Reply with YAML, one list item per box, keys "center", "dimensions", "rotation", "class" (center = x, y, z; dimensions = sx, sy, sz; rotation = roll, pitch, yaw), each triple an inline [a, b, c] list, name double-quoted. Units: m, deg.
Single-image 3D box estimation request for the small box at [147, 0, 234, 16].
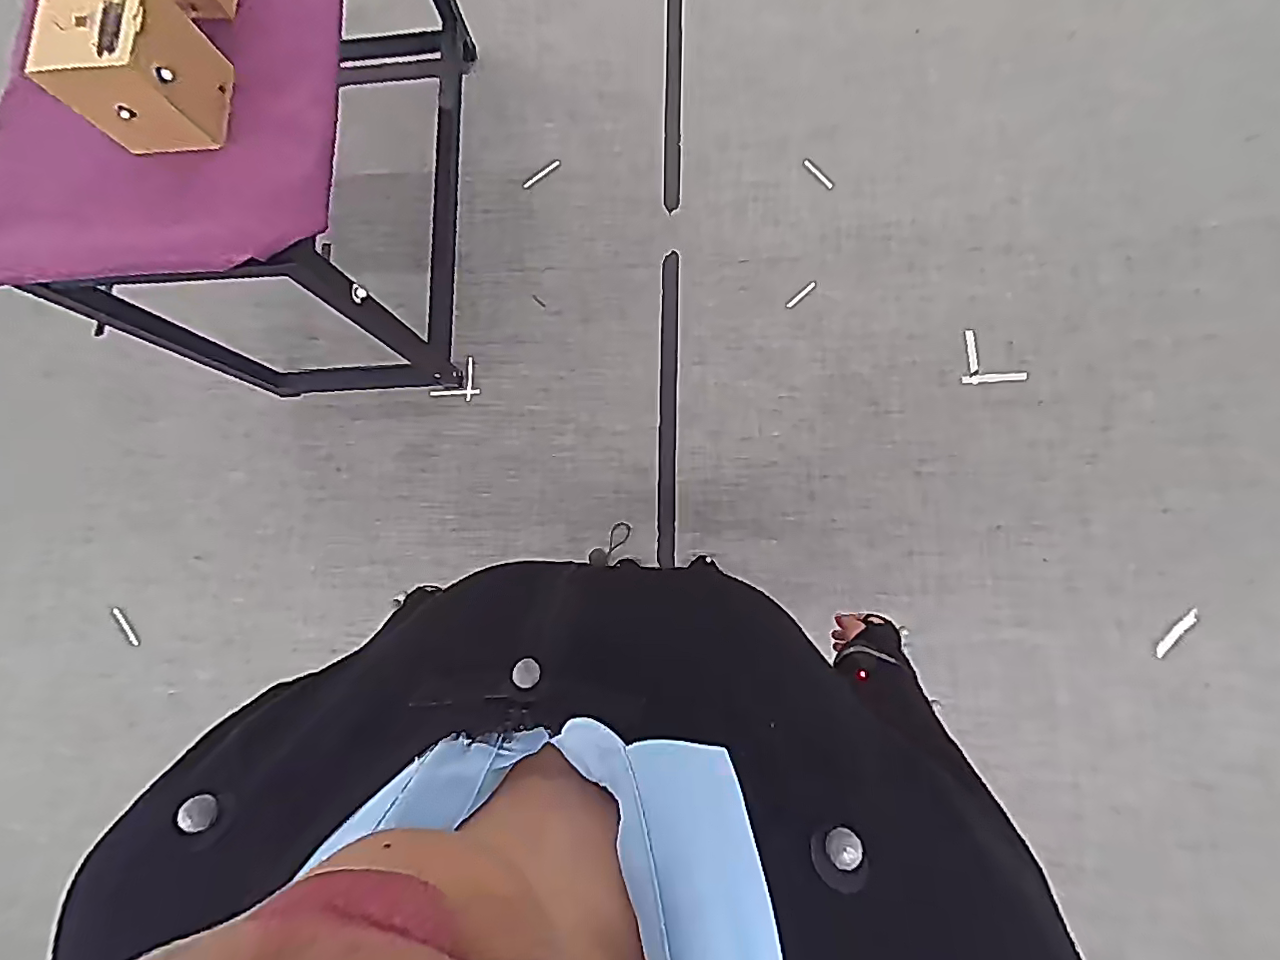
- center: [-0.822, -0.950, 0.930]
  dimensions: [0.168, 0.176, 0.179]
  rotation: [7, 82, 5]
  class: "small box"
